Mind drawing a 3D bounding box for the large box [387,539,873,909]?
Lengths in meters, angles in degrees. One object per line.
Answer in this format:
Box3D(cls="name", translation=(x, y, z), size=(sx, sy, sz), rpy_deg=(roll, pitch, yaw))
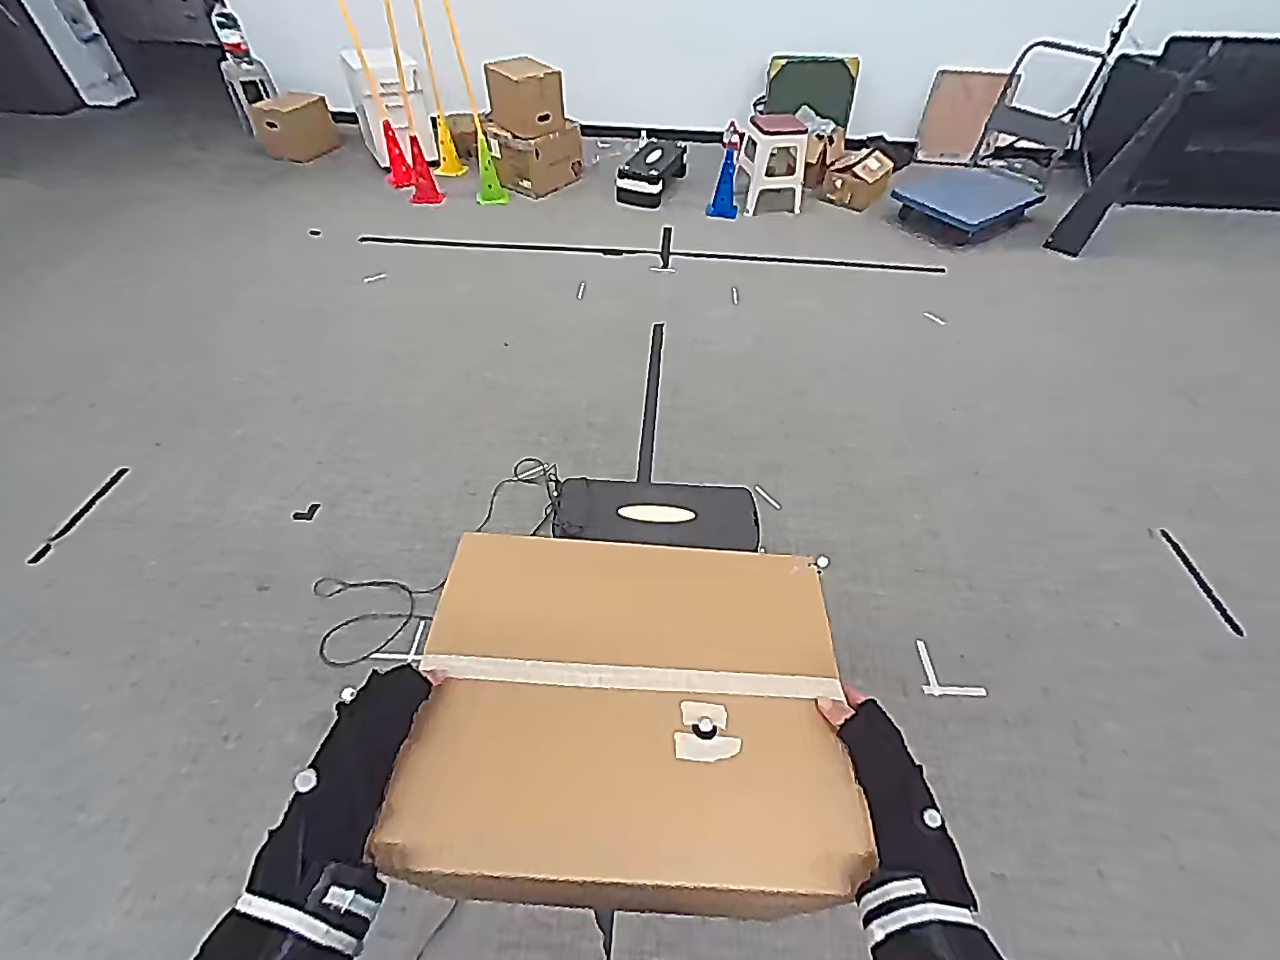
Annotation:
Box3D(cls="large box", translation=(-0.012, 0.294, 0.642), size=(0.408, 0.320, 0.320), rpy_deg=(5, 48, -1))
